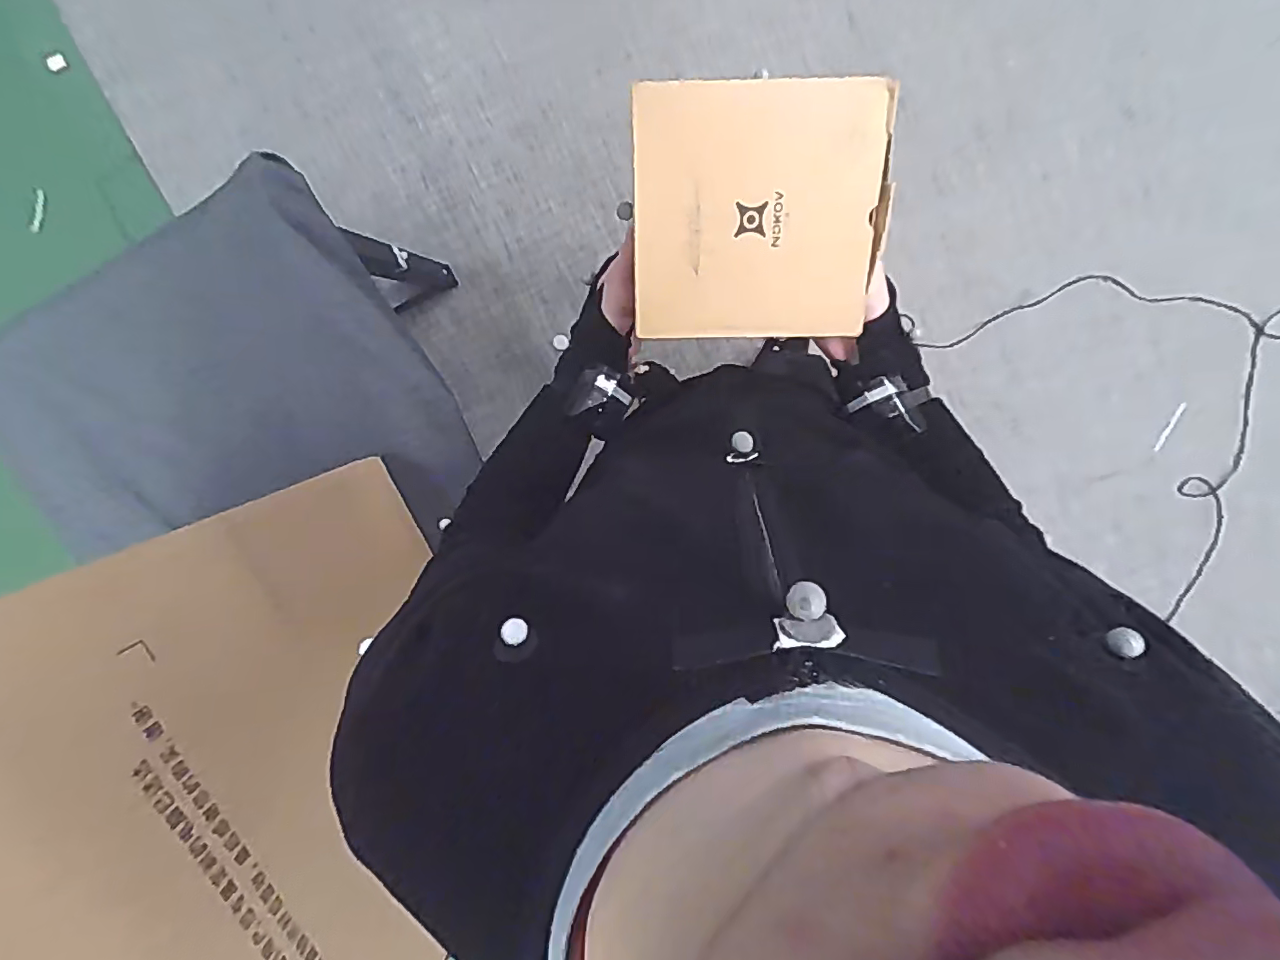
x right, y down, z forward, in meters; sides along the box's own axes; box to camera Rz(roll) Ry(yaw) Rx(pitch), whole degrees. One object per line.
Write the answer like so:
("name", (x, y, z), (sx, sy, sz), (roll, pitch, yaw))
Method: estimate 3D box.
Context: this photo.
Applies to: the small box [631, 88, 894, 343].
("small box", (0.082, -0.214, 0.458), (0.179, 0.176, 0.168), (-1, 113, 2))
